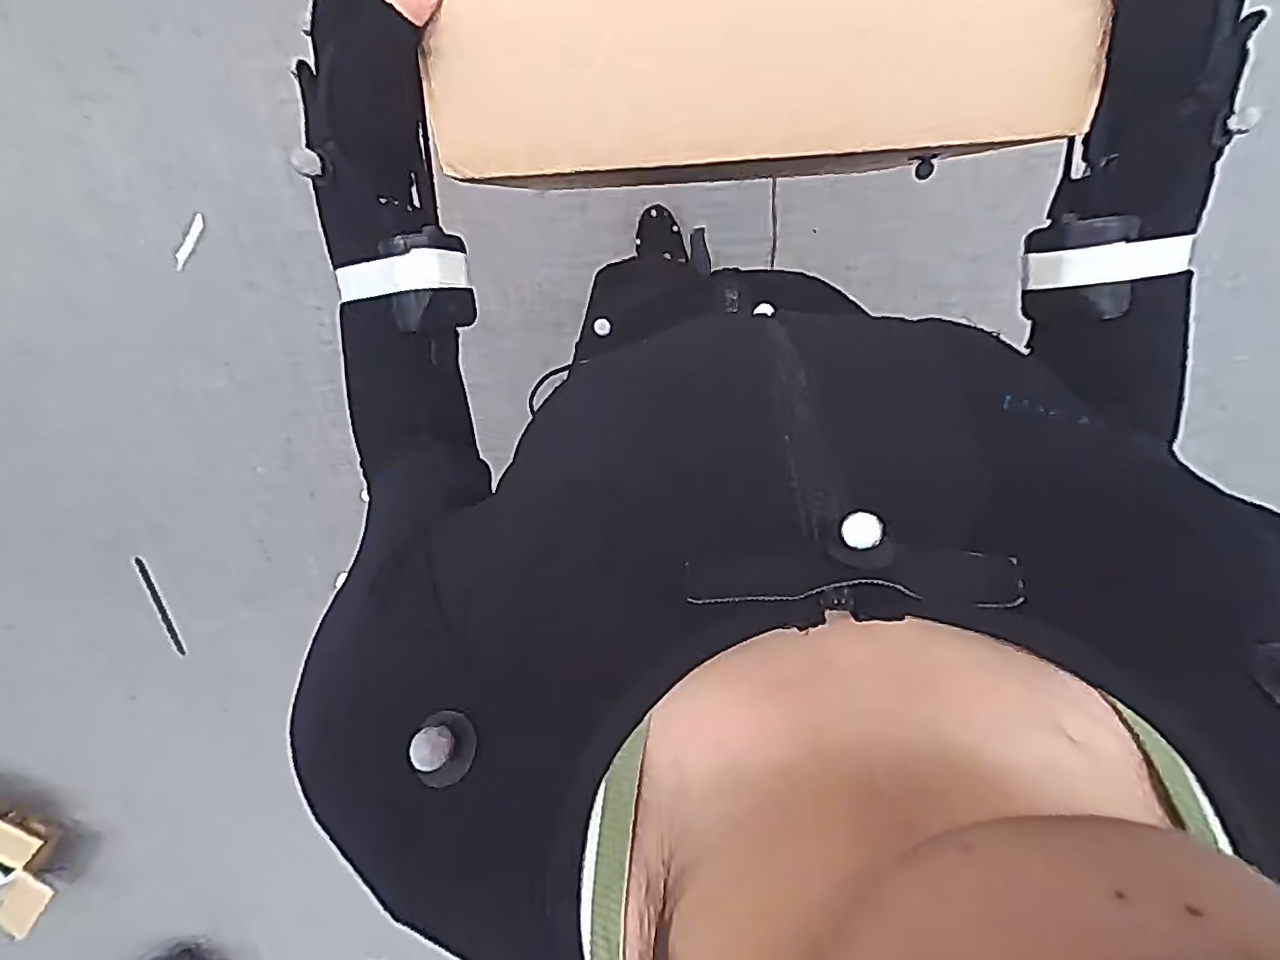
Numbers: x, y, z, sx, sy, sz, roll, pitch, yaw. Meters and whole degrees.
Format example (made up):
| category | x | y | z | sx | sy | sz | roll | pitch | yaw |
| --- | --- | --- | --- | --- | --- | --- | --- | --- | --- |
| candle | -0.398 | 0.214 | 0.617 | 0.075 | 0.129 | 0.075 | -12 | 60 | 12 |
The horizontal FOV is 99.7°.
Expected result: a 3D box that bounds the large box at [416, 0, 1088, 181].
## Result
| category | x | y | z | sx | sy | sz | roll | pitch | yaw |
| --- | --- | --- | --- | --- | --- | --- | --- | --- | --- |
| large box | 0.063 | -0.420 | 0.414 | 0.408 | 0.320 | 0.320 | -2 | 117 | 2 |
